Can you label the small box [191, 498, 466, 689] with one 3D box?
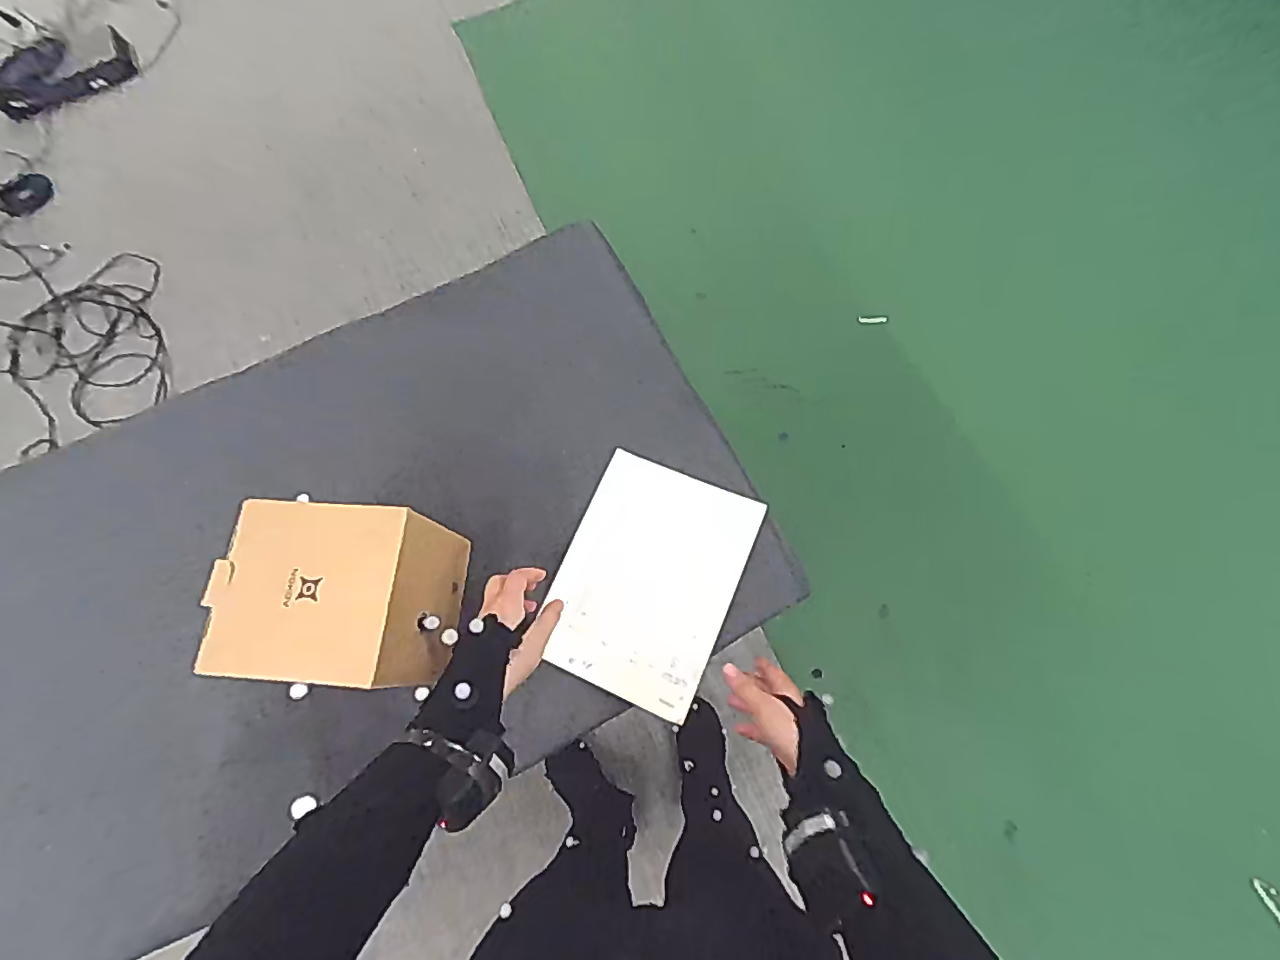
[{"bbox_3d":[-0.306,0.122,0.575,0.179,0.176,0.168,2,73,6],"label":"small box"}]
